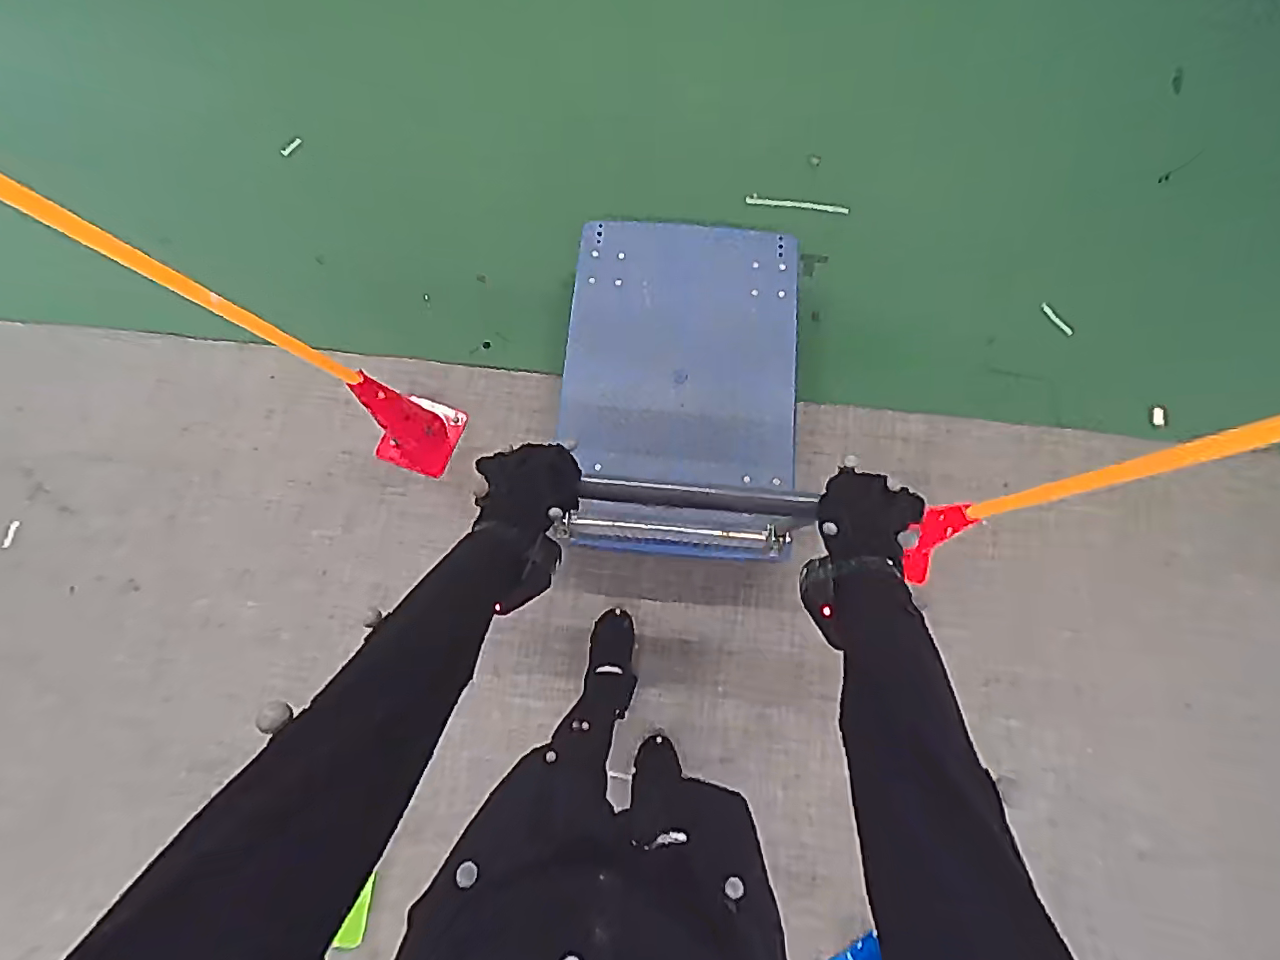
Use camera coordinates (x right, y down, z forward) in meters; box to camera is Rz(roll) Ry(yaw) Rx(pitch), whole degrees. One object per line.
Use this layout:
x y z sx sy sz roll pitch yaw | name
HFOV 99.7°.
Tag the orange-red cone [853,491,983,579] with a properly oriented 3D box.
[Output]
0.662 0.098 1.235 0.198 0.360 0.199 17 77 5 | orange-red cone
